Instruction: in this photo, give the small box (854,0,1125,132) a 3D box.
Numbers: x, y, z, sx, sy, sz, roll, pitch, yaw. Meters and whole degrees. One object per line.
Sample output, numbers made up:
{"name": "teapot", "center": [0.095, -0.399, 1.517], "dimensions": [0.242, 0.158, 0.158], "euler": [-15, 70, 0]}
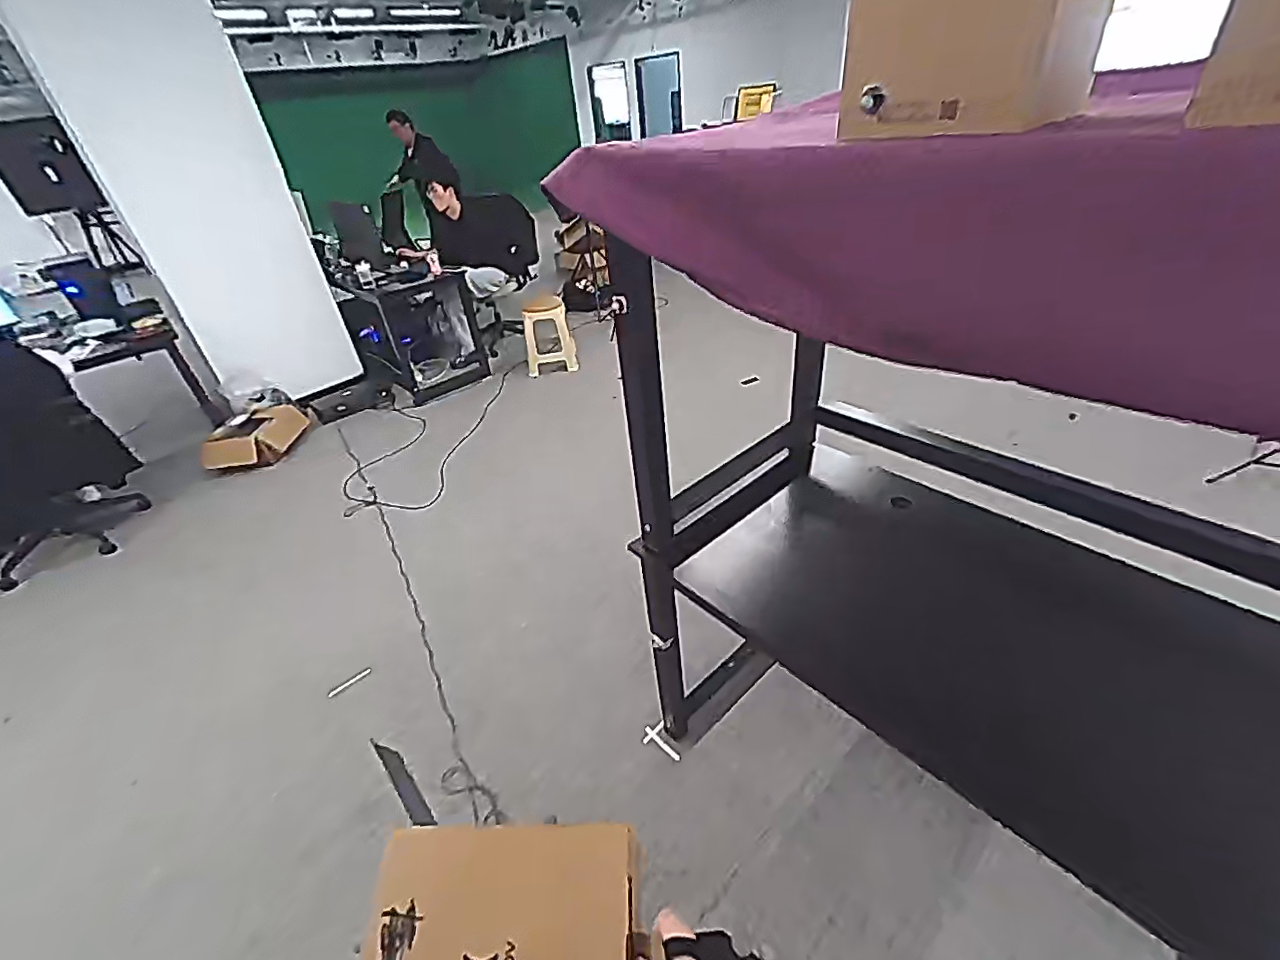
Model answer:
{"name": "small box", "center": [0.306, -0.409, 0.471], "dimensions": [0.179, 0.176, 0.168], "euler": [-31, 42, -32]}
